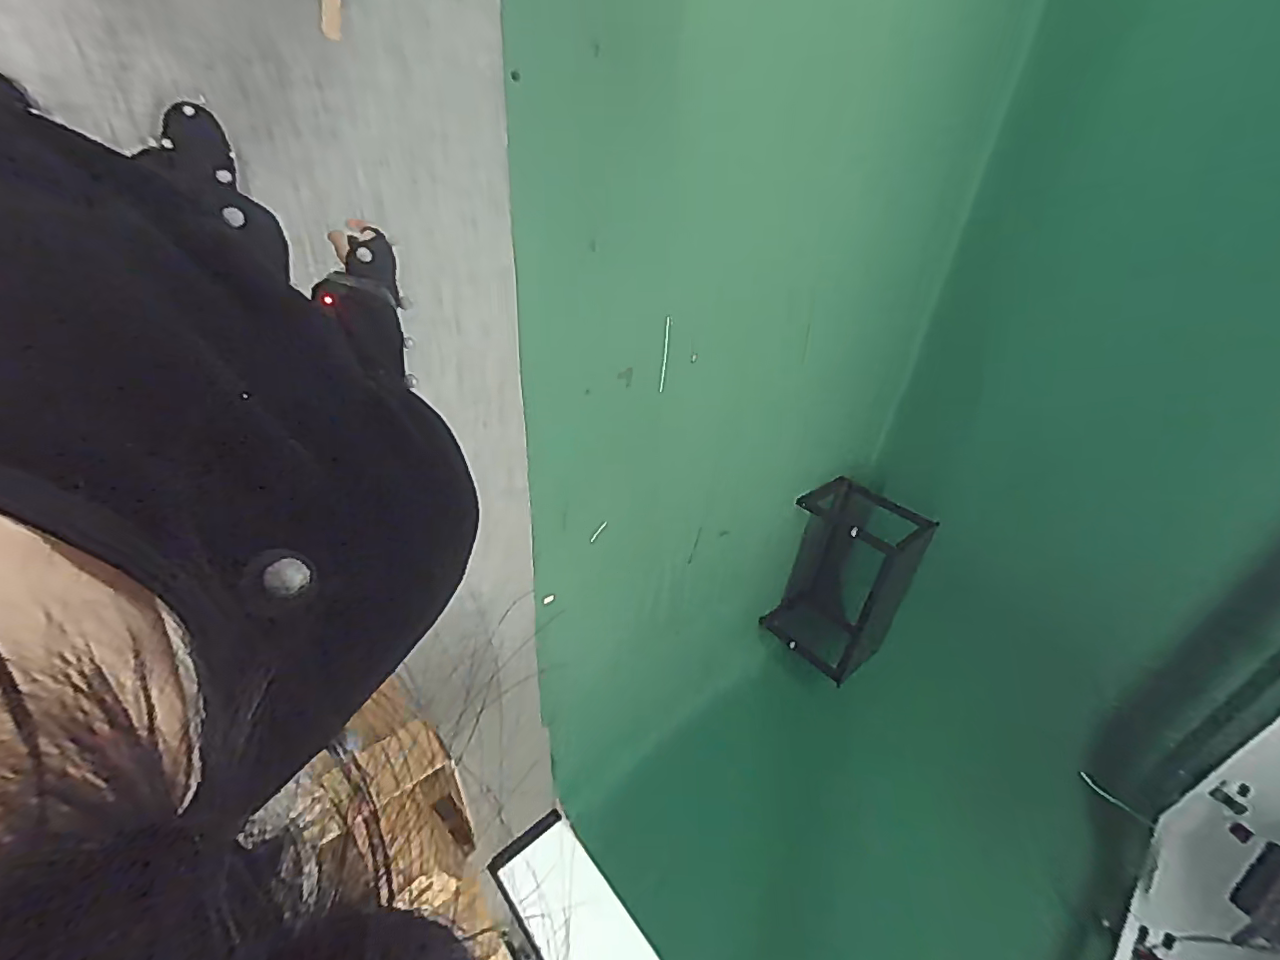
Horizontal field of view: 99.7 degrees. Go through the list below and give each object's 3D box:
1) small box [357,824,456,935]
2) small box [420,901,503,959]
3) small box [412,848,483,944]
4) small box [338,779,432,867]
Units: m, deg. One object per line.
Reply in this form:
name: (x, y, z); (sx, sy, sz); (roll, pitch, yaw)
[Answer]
small box: (-0.645, 1.093, 1.489); (0.168, 0.176, 0.179); (-34, 138, -24)
small box: (-0.511, 1.379, 1.568); (0.168, 0.176, 0.179); (-28, 133, -34)
small box: (-0.616, 1.297, 1.666); (0.179, 0.176, 0.168); (-29, 135, -32)
small box: (-0.751, 1.022, 1.592); (0.168, 0.176, 0.179); (-34, 138, -25)
